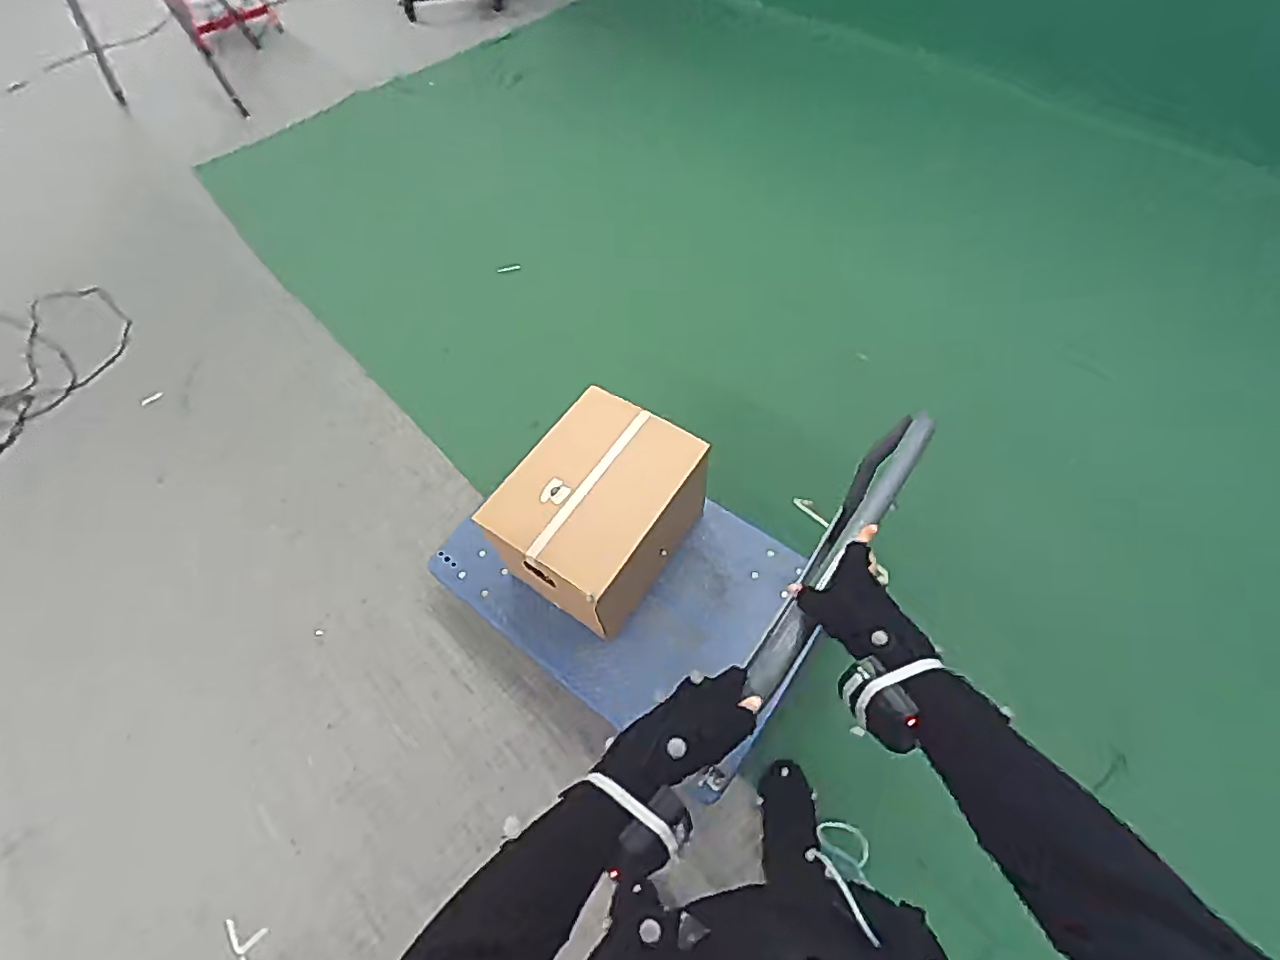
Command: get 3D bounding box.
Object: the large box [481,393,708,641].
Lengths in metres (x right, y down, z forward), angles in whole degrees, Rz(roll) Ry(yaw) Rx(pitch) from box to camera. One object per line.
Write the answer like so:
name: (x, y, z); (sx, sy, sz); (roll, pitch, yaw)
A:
large box: (-0.080, 0.087, 1.237); (0.320, 0.320, 0.408); (29, 66, 19)
